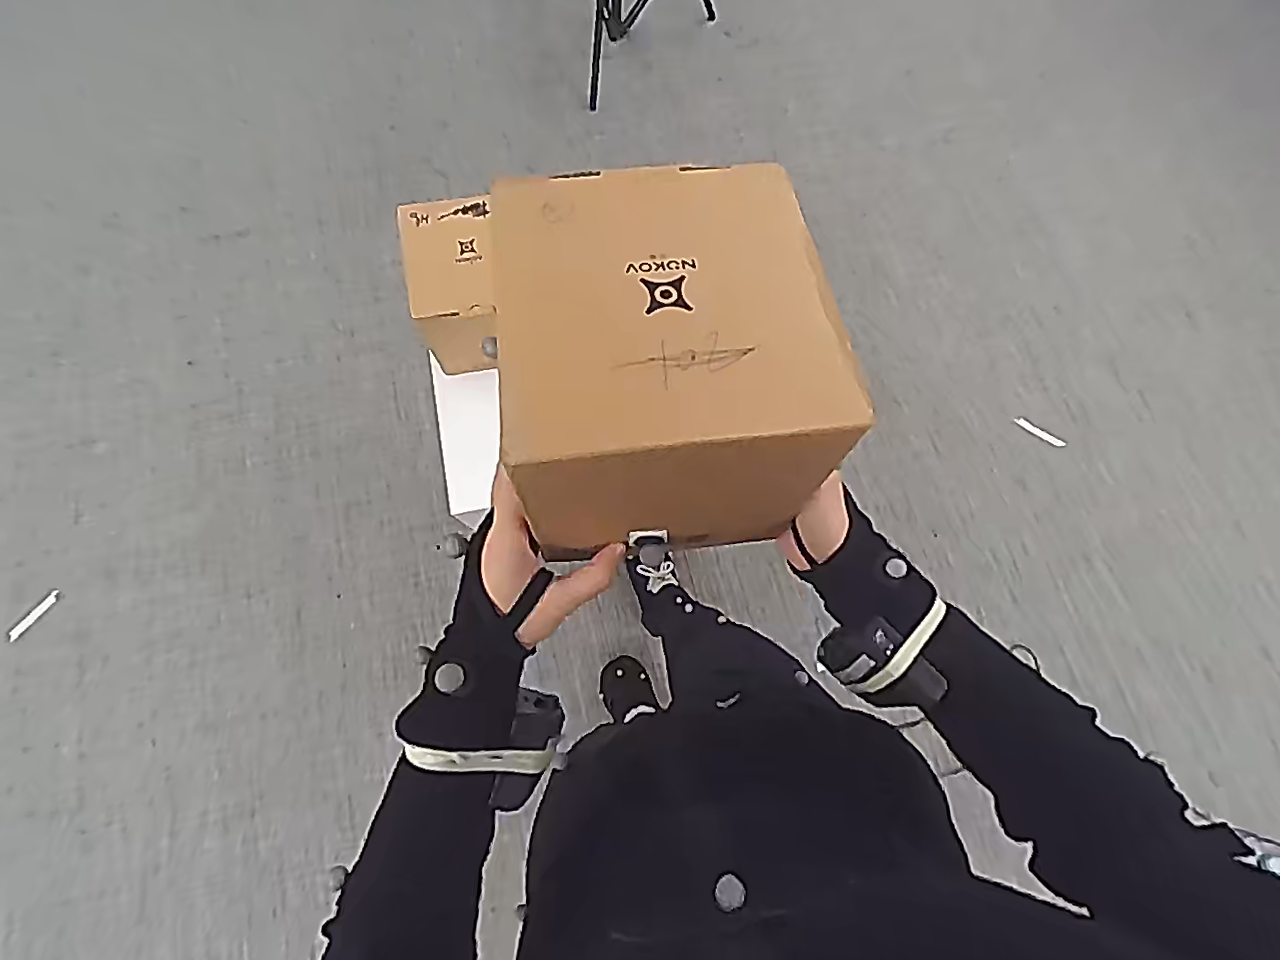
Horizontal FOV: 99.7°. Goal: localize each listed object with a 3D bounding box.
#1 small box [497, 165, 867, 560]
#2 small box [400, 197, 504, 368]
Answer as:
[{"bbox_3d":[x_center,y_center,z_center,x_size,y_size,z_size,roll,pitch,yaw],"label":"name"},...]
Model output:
[{"bbox_3d":[0.009,-0.063,0.345,0.168,0.176,0.179,-7,67,-5],"label":"small box"},{"bbox_3d":[-0.233,-0.278,0.796,0.168,0.176,0.179,-11,78,-7],"label":"small box"}]
